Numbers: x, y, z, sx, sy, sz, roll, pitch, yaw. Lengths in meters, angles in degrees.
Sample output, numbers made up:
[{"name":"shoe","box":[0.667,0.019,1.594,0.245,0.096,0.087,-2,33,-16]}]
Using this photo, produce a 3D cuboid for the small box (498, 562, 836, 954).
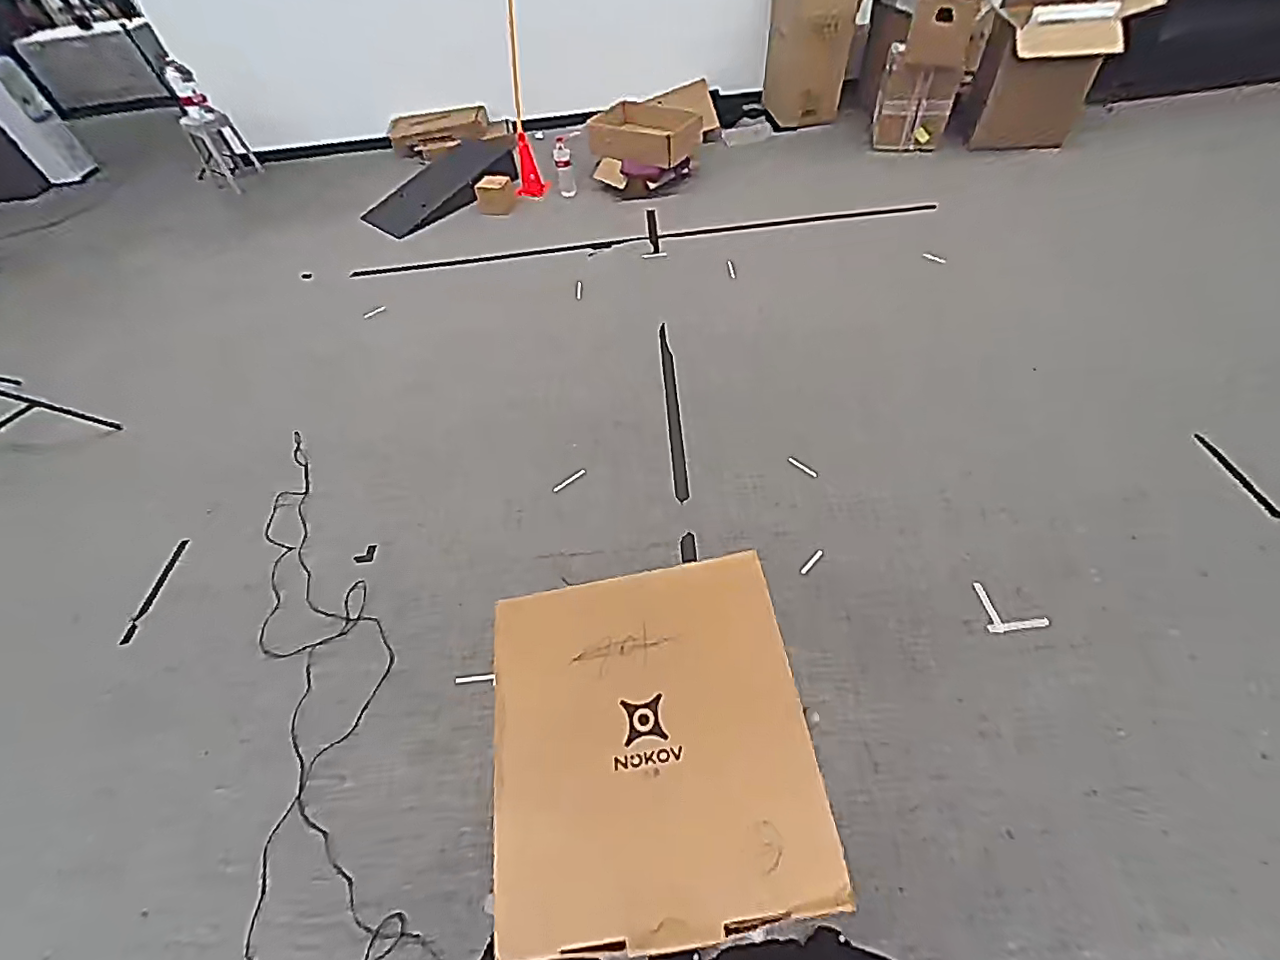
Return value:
[{"name":"small box","box":[0.013,0.179,0.364,0.168,0.176,0.179,-11,56,2]}]
